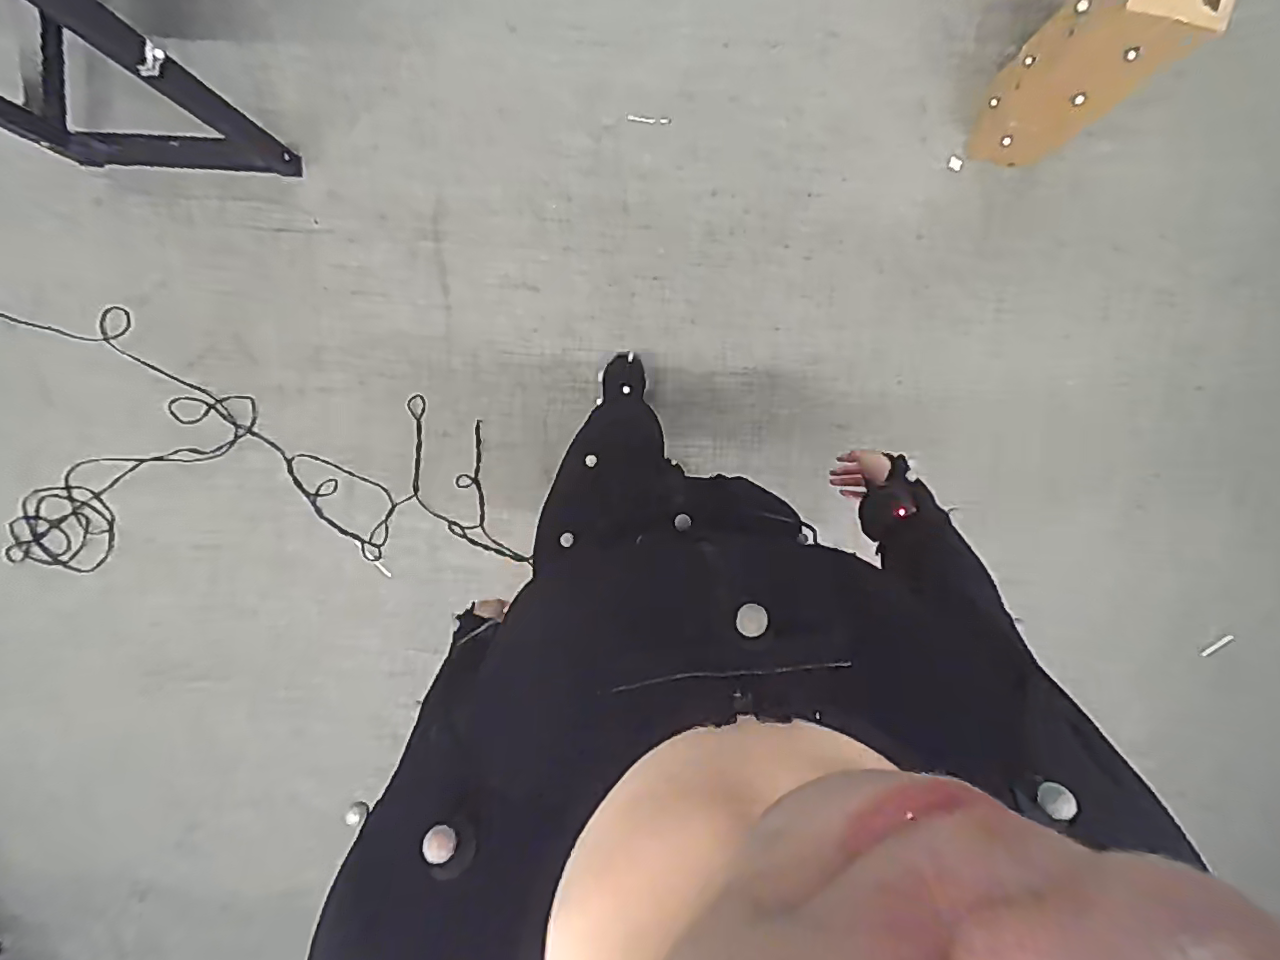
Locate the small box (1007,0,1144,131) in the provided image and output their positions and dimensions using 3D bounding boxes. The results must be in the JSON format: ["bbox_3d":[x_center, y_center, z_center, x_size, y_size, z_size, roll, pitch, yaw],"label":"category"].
[{"bbox_3d":[0.935,-0.878,1.148,0.179,0.176,0.168,12,97,0],"label":"small box"}]

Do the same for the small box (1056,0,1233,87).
[{"bbox_3d":[0.923,-0.861,0.985,0.179,0.176,0.168,14,97,1],"label":"small box"}]
